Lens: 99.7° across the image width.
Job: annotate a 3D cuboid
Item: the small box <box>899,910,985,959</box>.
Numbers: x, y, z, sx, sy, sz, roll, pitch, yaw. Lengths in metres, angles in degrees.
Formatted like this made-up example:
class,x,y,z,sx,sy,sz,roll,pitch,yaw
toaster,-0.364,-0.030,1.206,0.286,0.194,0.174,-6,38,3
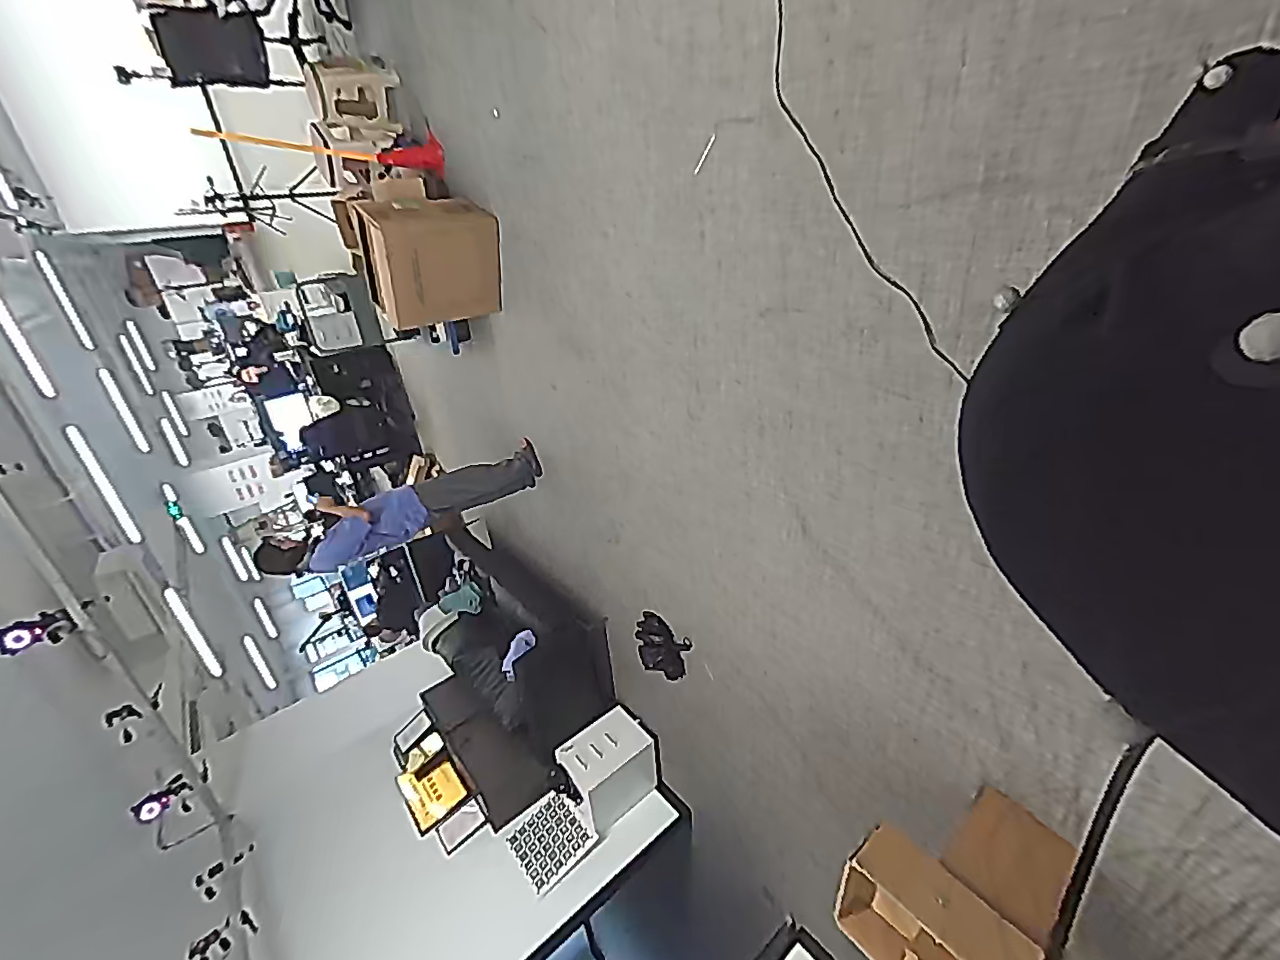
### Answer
class,x,y,z,sx,sy,sz,roll,pitch,yaw
small box,0.843,1.370,1.516,0.168,0.176,0.179,26,132,46
